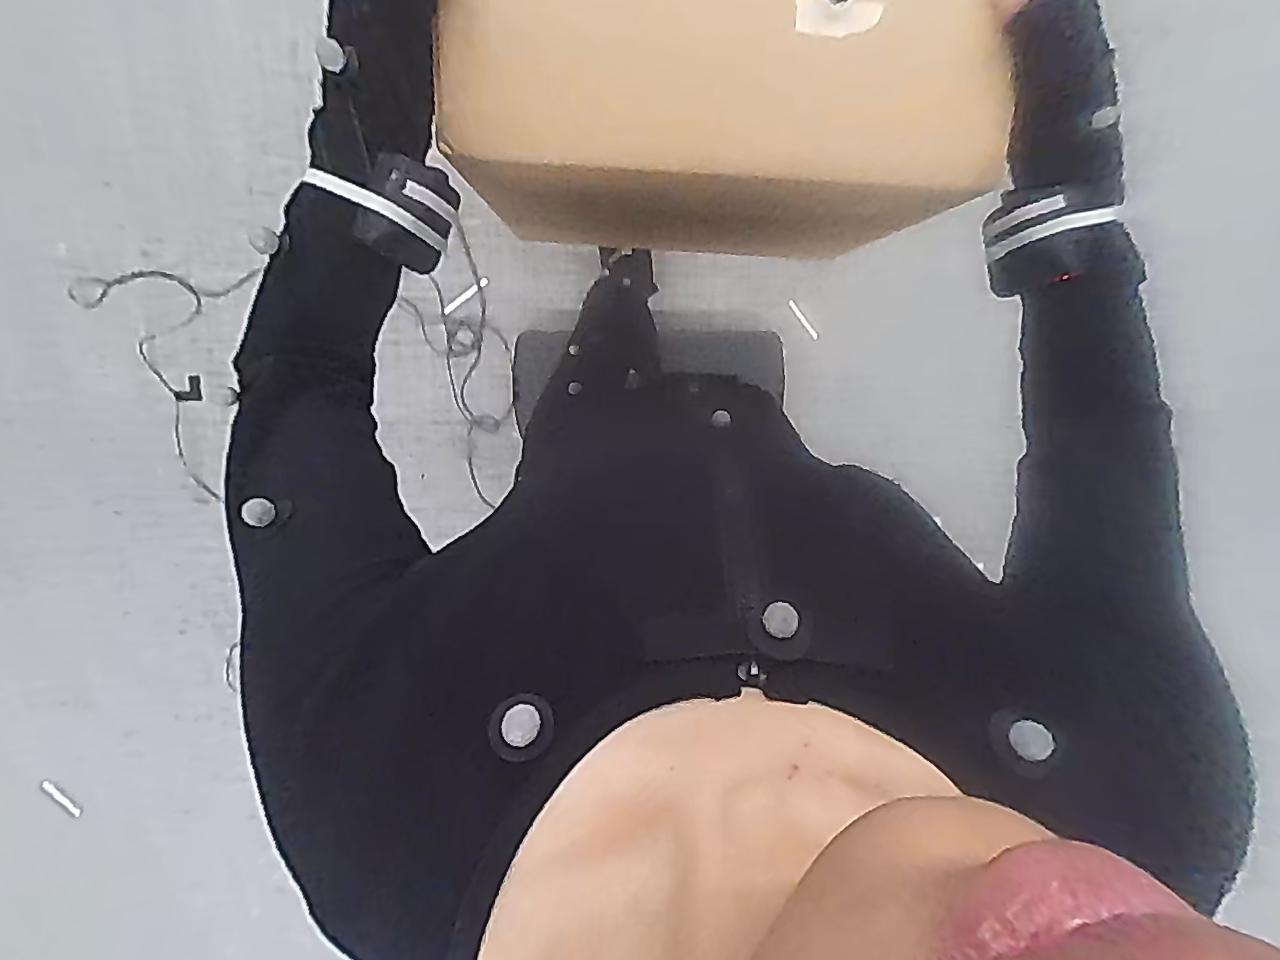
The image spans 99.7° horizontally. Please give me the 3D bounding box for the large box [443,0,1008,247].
[{"bbox_3d":[0.056,-0.418,0.508,0.408,0.320,0.320,2,103,-3],"label":"large box"}]
